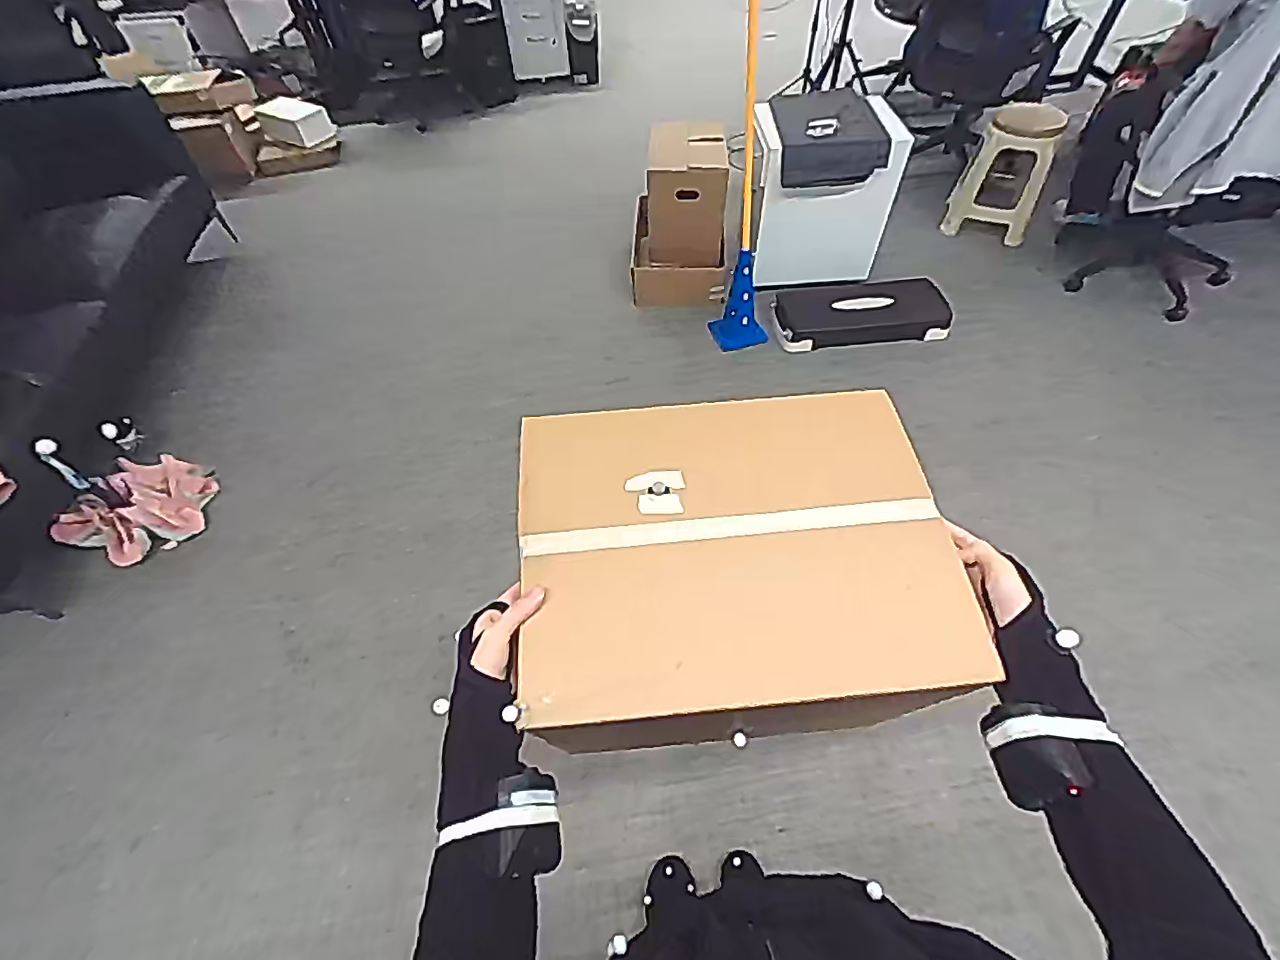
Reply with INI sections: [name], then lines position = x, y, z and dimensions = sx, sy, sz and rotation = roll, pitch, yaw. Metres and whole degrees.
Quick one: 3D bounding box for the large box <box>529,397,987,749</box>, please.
[large box]
position = 0.096, 0.131, 0.662
dimensions = 0.408, 0.320, 0.320
rotation = -6, 59, -1
